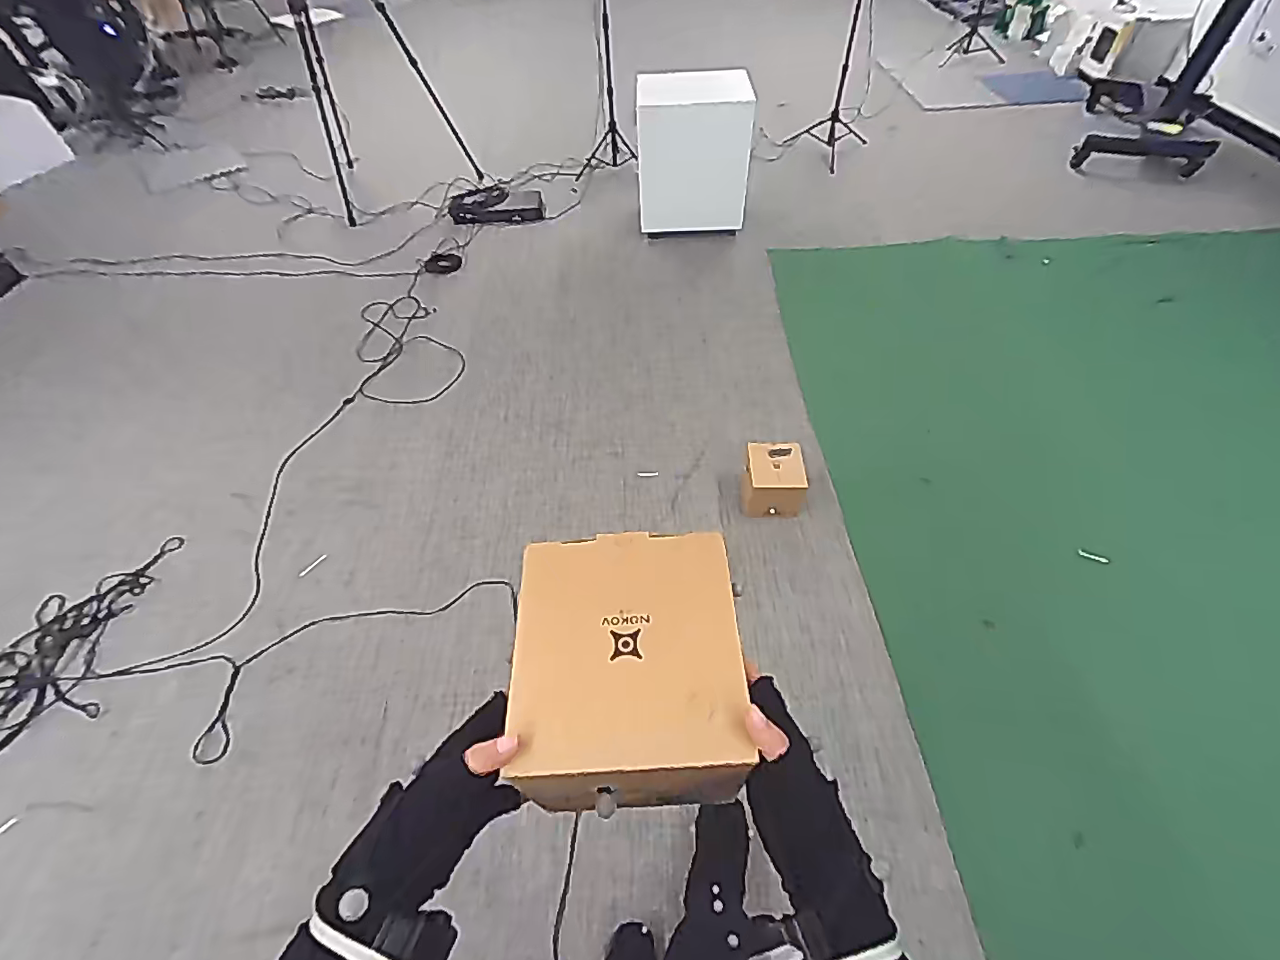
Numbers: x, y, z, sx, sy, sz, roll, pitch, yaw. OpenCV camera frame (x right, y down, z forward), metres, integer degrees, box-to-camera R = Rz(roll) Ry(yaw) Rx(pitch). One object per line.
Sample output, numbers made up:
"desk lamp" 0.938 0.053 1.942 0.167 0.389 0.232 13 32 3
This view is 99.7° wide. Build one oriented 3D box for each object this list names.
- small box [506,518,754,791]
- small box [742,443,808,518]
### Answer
"small box" -0.004 0.154 0.460 0.168 0.176 0.179 -4 50 0
"small box" 0.421 0.003 1.719 0.168 0.176 0.179 0 53 3
